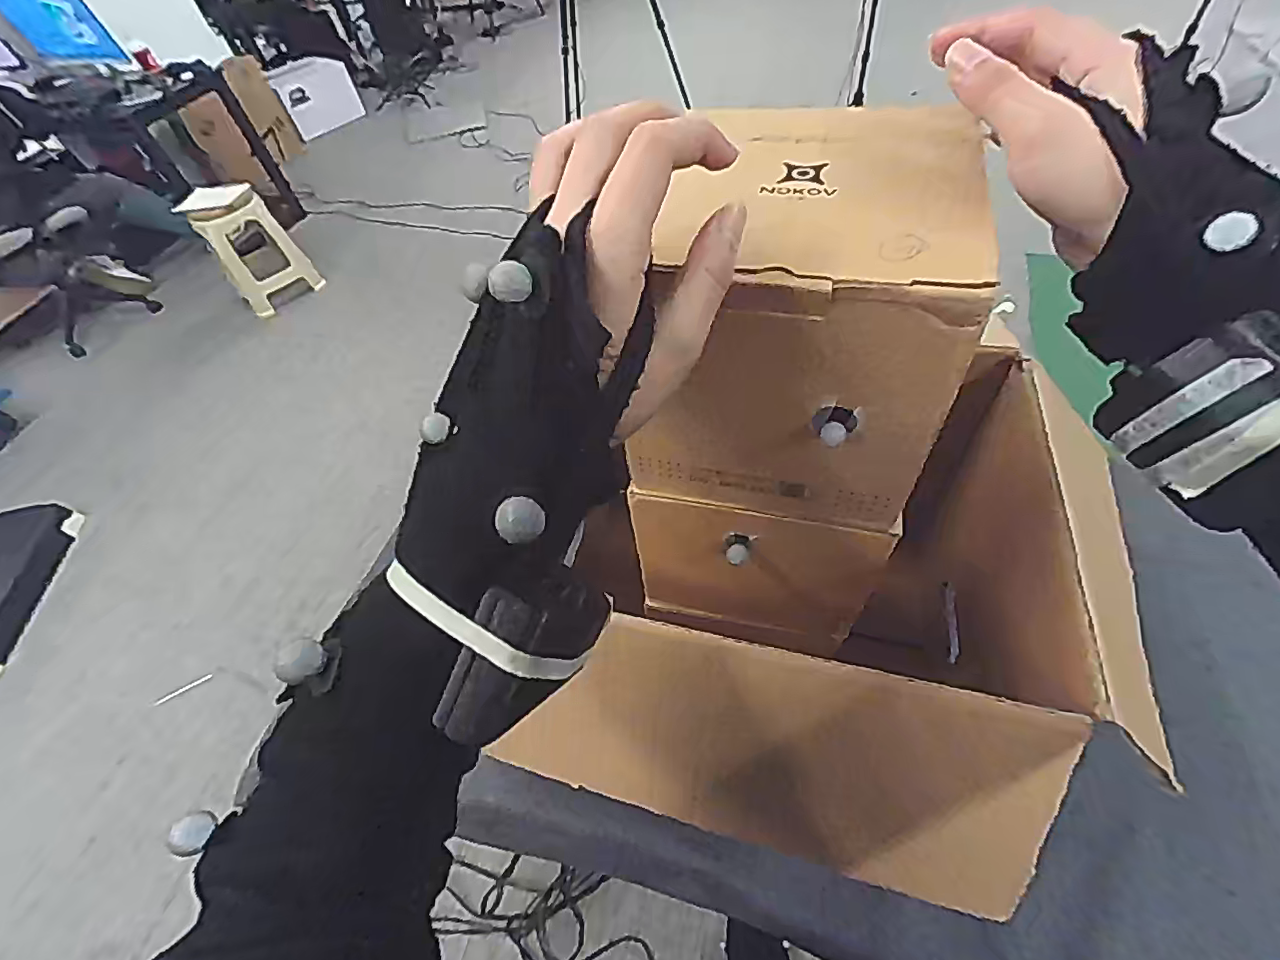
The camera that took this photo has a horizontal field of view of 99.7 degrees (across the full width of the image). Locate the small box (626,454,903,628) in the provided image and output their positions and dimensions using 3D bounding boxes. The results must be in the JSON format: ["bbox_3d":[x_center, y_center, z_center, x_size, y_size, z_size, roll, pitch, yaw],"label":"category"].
[{"bbox_3d":[0.103,0.006,0.450,0.179,0.176,0.168,9,54,15],"label":"small box"}]

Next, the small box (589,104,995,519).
[{"bbox_3d":[0.086,-0.099,0.328,0.168,0.176,0.179,10,53,14],"label":"small box"}]
